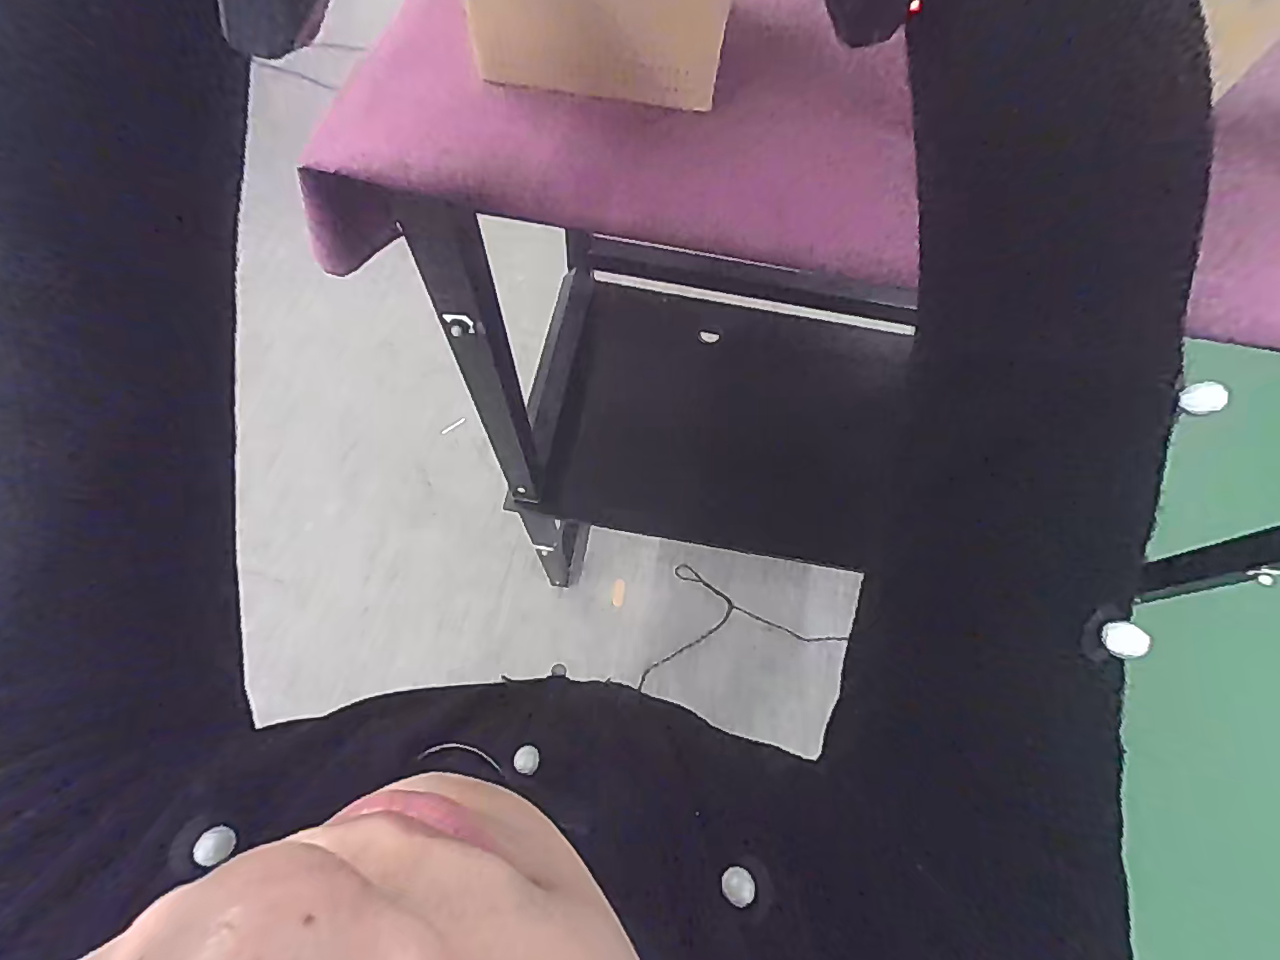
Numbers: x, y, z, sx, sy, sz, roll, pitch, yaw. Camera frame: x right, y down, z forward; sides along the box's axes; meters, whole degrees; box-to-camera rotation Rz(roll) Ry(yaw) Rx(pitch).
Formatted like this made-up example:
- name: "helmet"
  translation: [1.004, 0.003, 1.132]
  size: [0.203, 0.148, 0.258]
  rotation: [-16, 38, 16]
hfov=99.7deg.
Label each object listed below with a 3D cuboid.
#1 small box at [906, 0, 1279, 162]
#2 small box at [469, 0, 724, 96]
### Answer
- name: "small box"
  translation: [0.307, -0.350, 0.363]
  size: [0.179, 0.176, 0.168]
  rotation: [10, 65, 1]
- name: "small box"
  translation: [-0.022, -0.397, 0.361]
  size: [0.179, 0.176, 0.168]
  rotation: [8, 66, -2]
